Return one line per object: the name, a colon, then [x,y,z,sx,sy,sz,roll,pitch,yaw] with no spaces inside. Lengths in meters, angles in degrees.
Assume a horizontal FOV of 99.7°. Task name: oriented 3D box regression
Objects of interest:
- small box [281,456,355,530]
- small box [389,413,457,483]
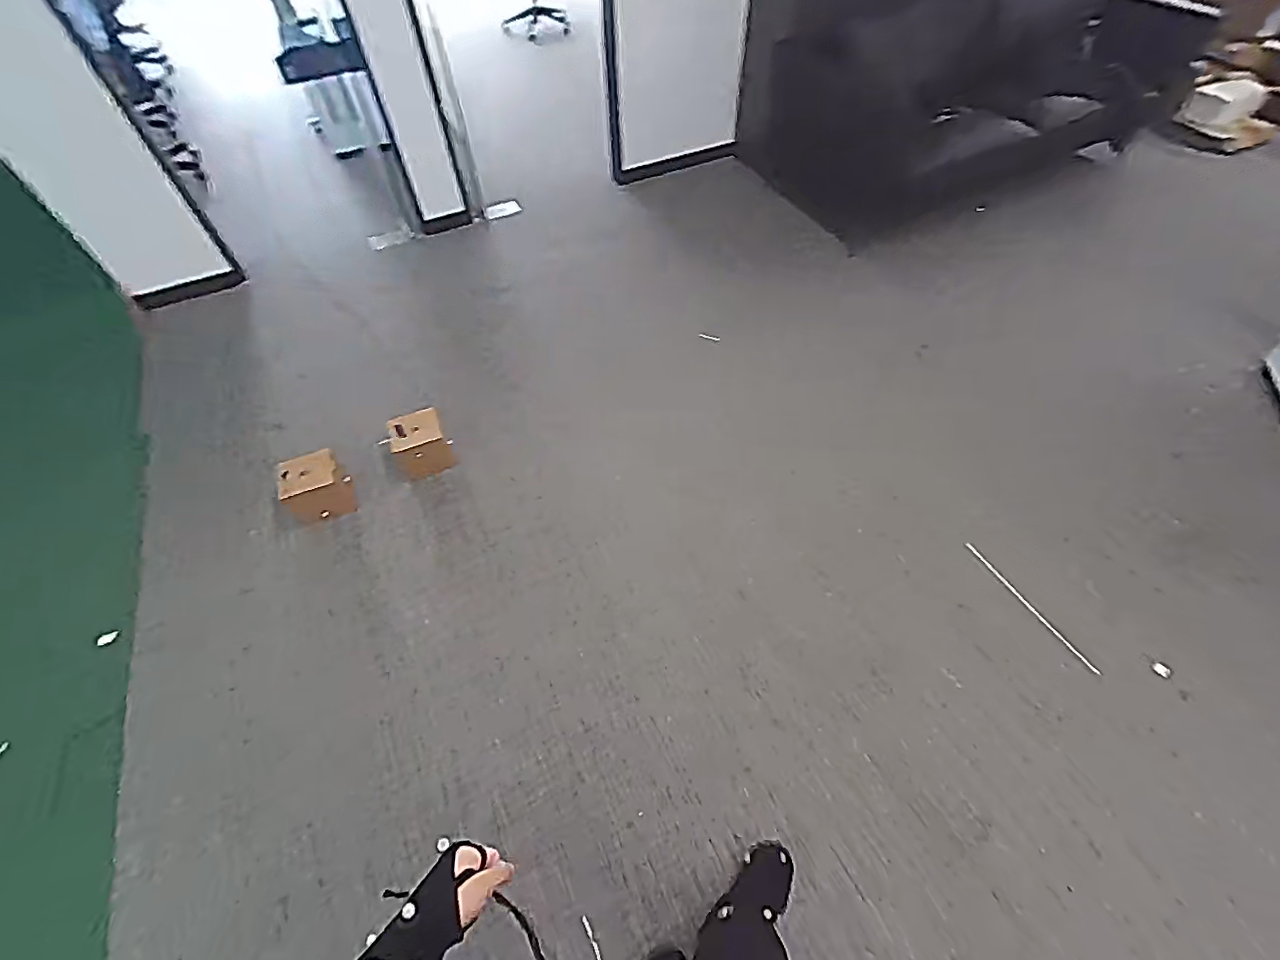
small box: [-1.122,0.047,1.895,0.179,0.176,0.168,-19,55,-13]
small box: [-0.801,-0.113,2.000,0.179,0.176,0.168,-20,55,-14]
